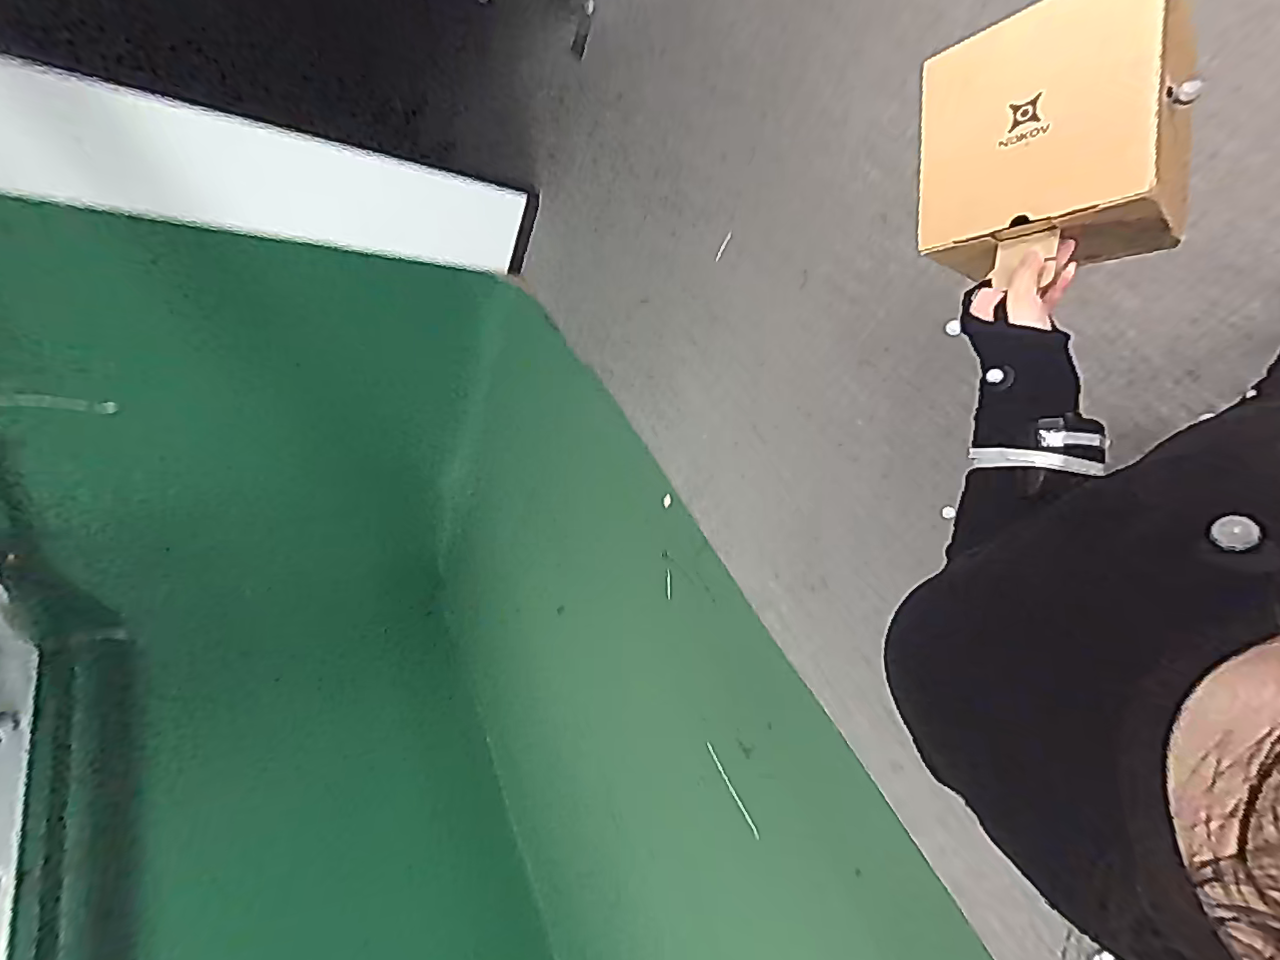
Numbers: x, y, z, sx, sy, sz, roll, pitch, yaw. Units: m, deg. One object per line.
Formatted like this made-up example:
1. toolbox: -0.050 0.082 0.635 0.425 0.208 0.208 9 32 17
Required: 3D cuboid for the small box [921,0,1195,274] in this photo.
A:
1. small box: 0.382 -0.308 0.497 0.168 0.176 0.179 7 99 49
